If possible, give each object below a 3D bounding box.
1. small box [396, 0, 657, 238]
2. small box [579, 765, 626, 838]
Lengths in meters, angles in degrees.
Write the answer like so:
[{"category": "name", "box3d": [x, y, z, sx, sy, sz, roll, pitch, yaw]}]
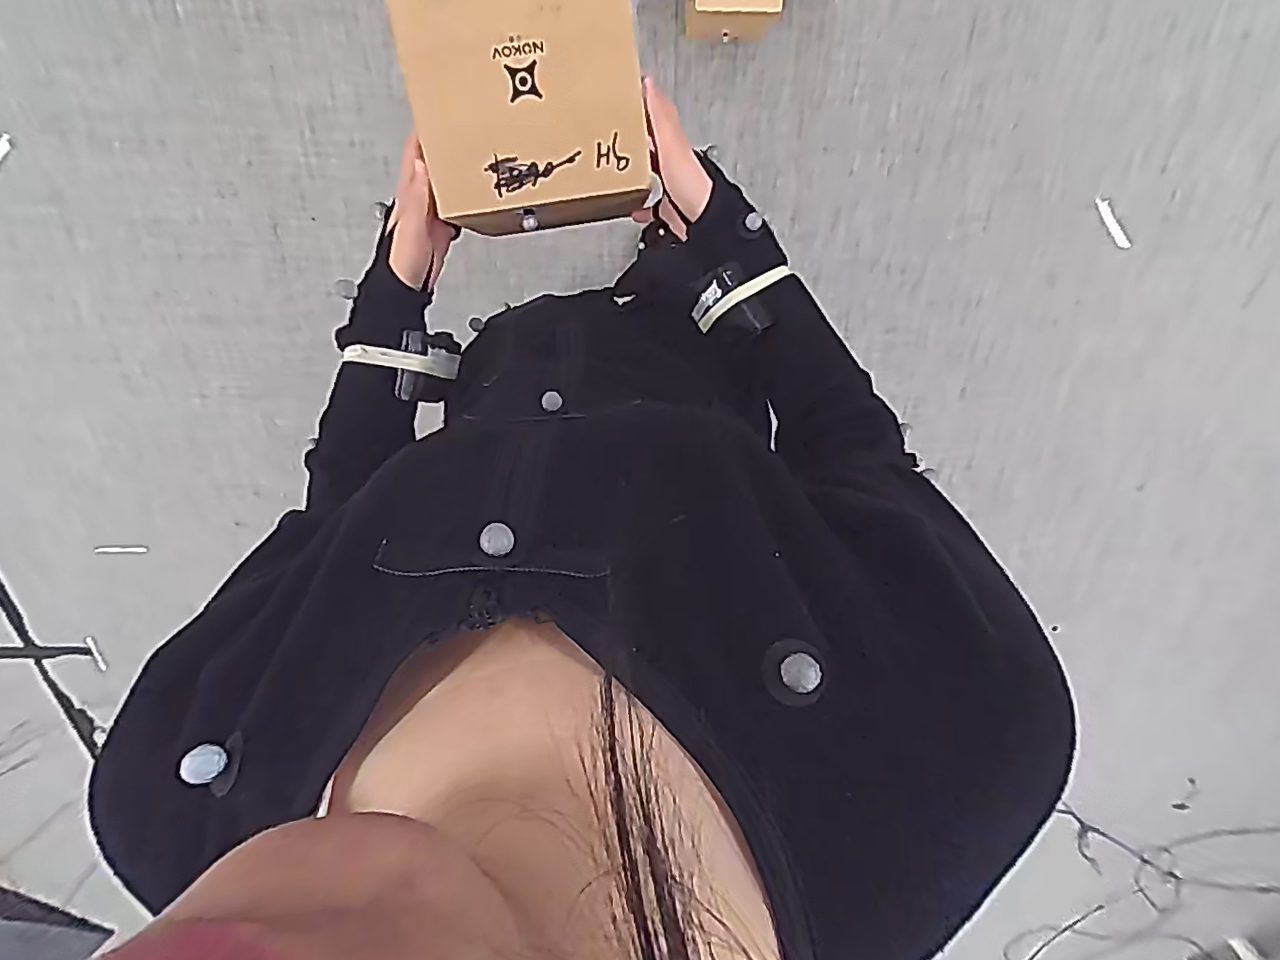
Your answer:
[{"category": "small box", "box3d": [-0.083, -0.314, 0.453, 0.168, 0.176, 0.179, -8, 110, -1]}, {"category": "small box", "box3d": [-0.134, 1.187, 1.999, 0.168, 0.176, 0.179, -1, 113, -1]}]
